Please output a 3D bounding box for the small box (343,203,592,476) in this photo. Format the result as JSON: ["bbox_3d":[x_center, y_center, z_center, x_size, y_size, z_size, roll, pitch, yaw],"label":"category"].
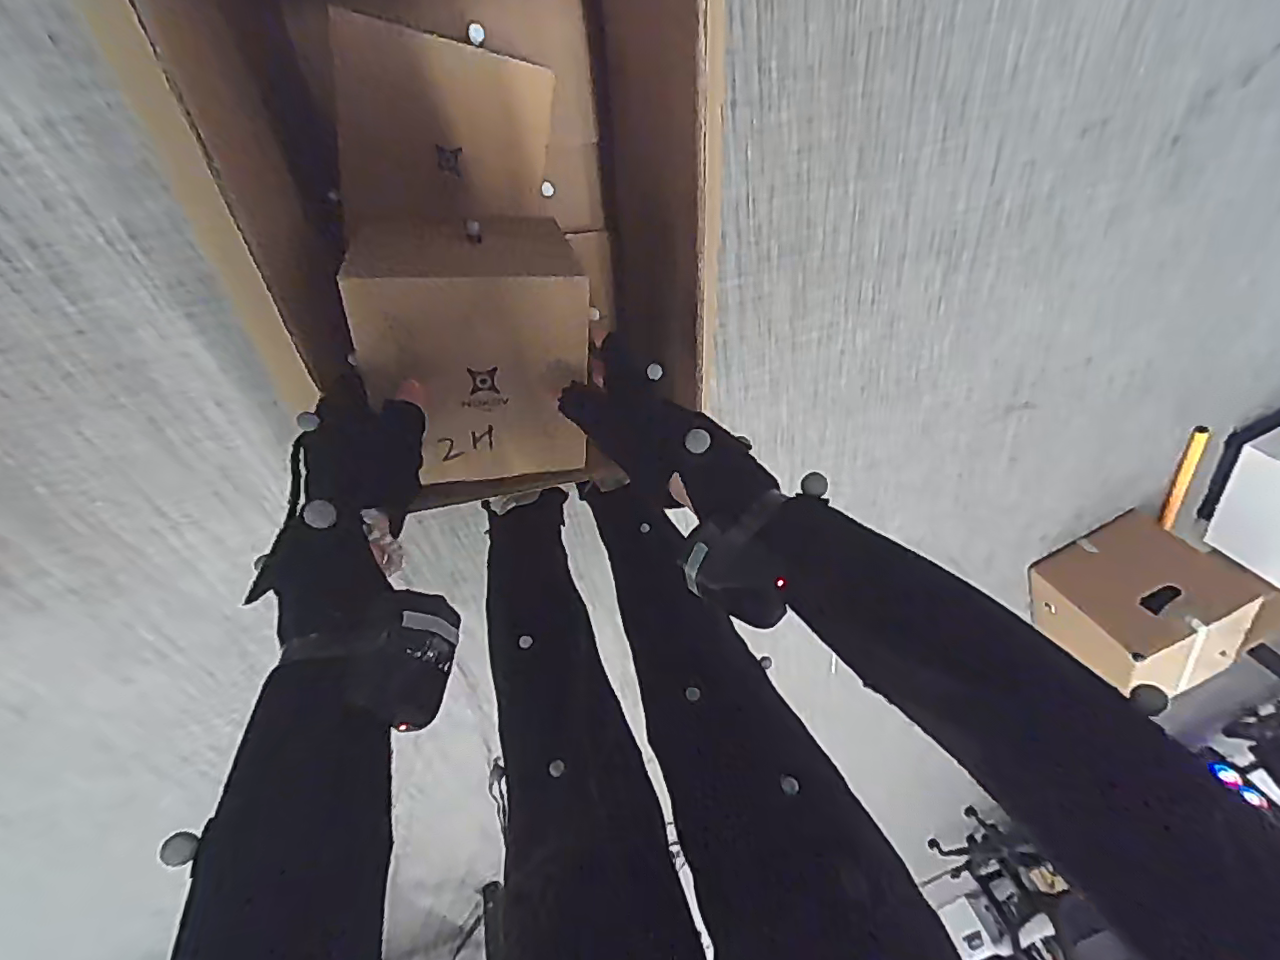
[{"bbox_3d":[-0.143,-0.128,0.472,0.168,0.176,0.179,-6,131,-16],"label":"small box"}]
